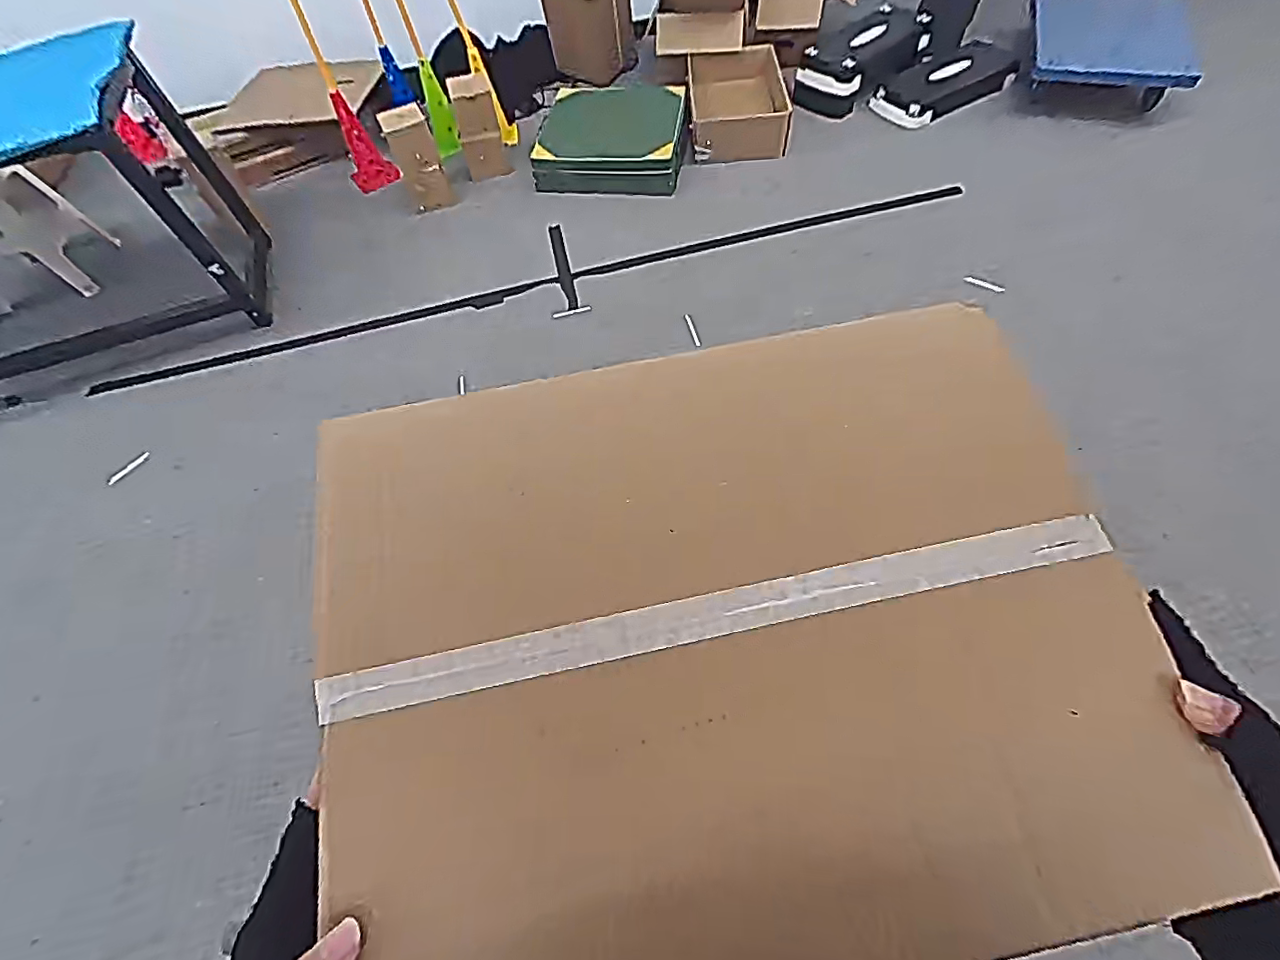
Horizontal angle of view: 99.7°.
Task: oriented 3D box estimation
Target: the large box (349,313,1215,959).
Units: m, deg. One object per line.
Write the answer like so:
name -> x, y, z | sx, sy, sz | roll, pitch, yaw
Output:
large box -> 0.047, 0.123, 0.431 | 0.408, 0.320, 0.320 | -12, 70, -3
